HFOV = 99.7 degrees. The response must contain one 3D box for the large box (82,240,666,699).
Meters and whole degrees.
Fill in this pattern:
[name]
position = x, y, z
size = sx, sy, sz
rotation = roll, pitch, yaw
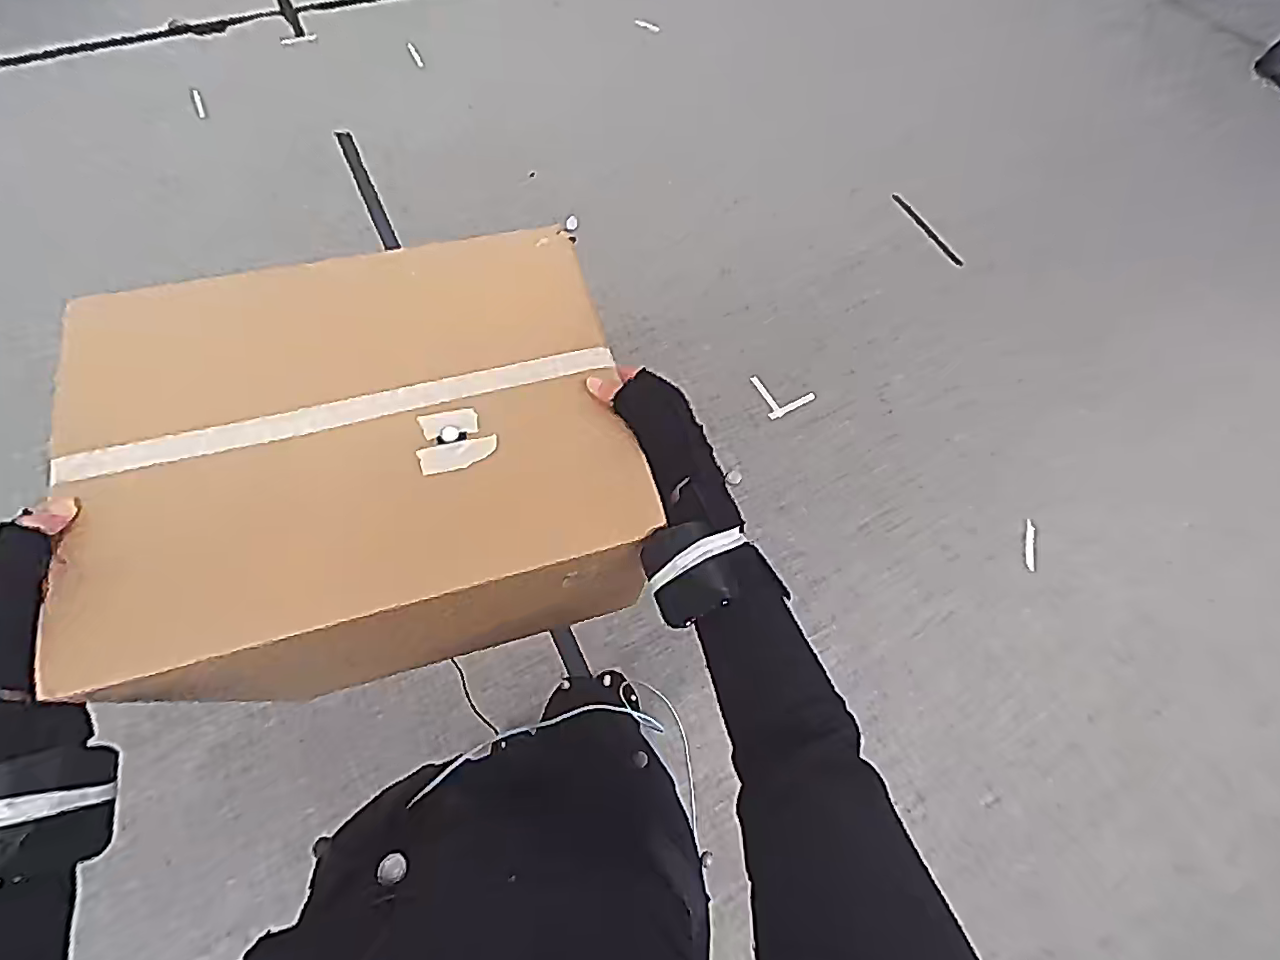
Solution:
[large box]
position = -0.225, 0.009, 0.568
size = 0.408, 0.320, 0.320
rotation = -14, 70, -11
